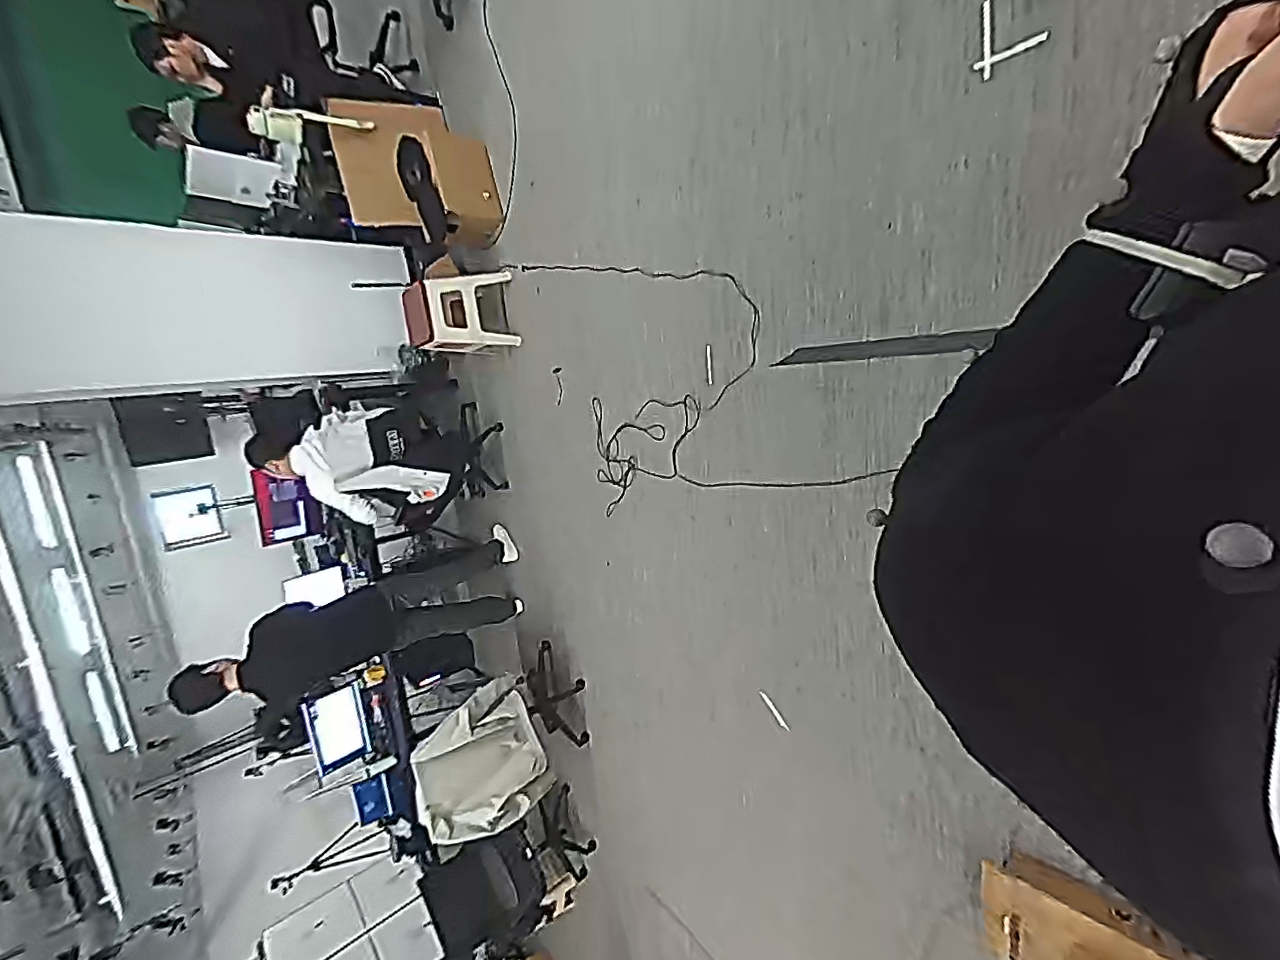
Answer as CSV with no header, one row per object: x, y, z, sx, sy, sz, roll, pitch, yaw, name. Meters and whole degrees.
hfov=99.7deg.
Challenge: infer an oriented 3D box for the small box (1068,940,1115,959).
1.069,1.227,1.229,0.168,0.176,0.179,6,107,49,small box
